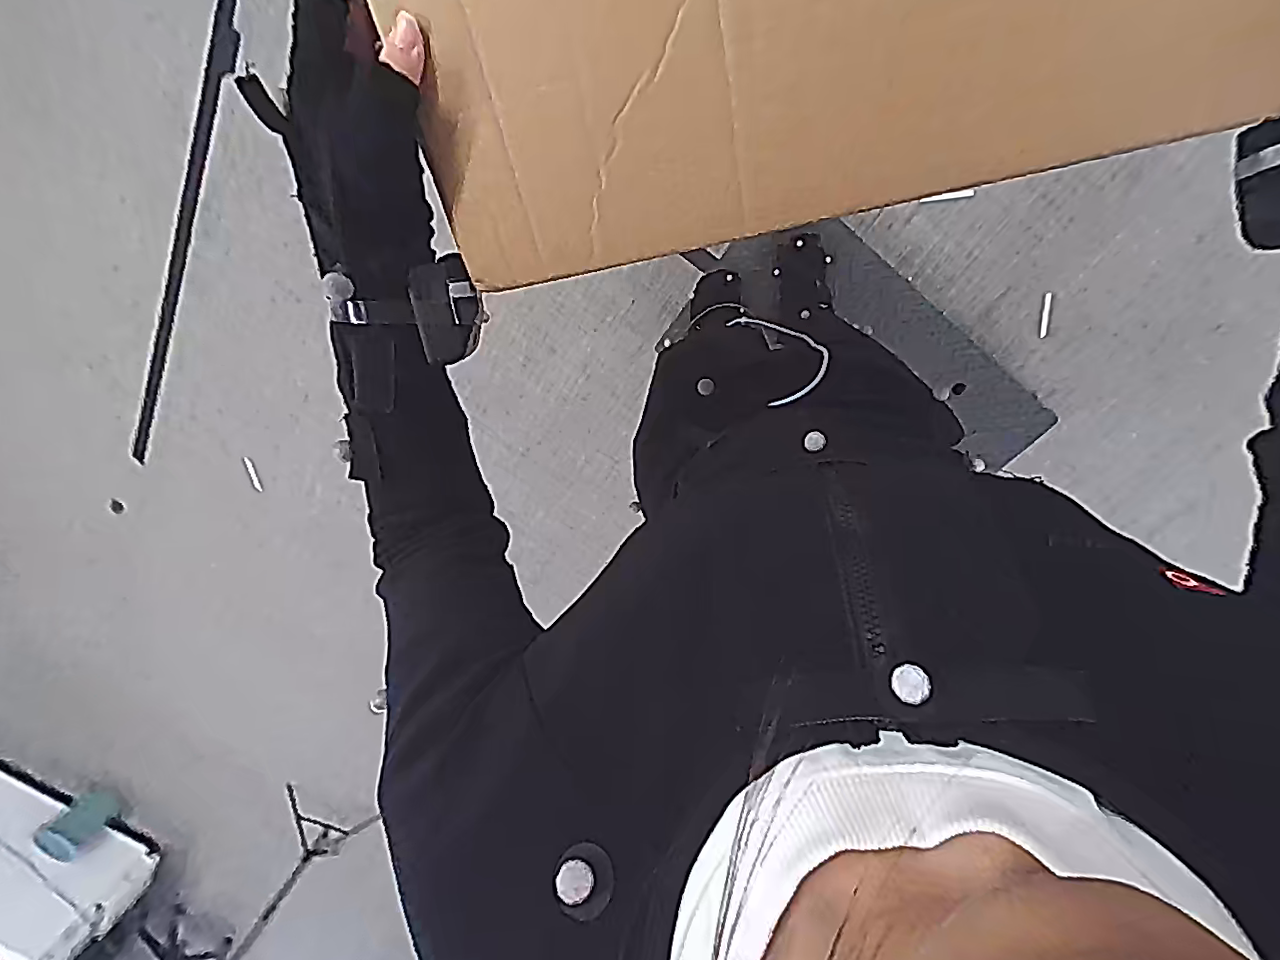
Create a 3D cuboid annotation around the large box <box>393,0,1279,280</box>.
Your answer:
[{"bbox_3d":[0.082,-0.354,0.352,0.408,0.320,0.320,-7,120,13],"label":"large box"}]

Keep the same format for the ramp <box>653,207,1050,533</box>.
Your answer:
[{"bbox_3d":[0.572,-0.258,1.418,0.991,0.206,0.509,35,114,-7],"label":"ramp"}]
